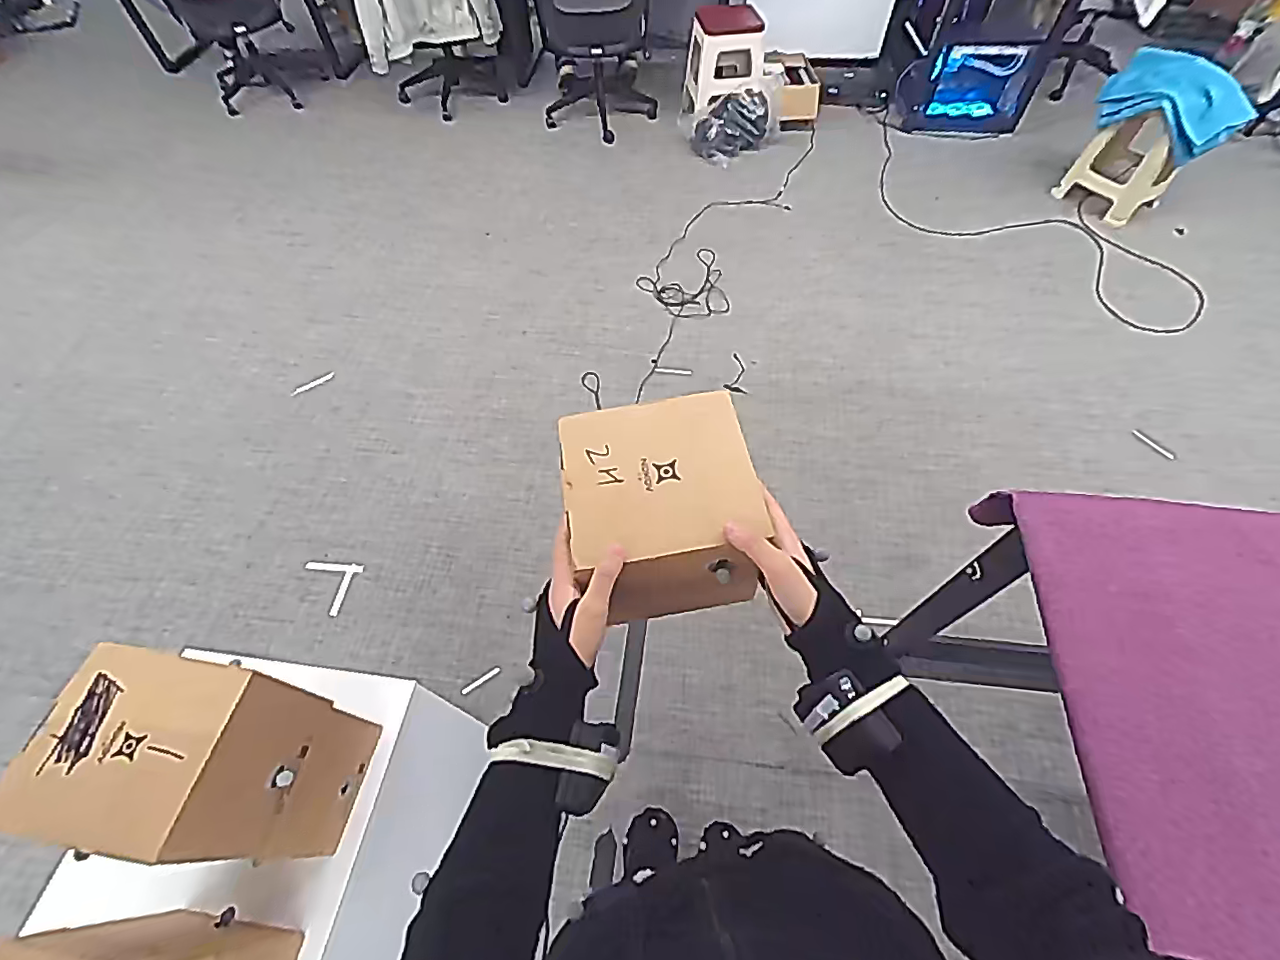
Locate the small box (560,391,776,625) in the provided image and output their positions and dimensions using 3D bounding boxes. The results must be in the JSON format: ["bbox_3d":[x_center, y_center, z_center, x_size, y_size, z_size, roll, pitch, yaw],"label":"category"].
[{"bbox_3d":[0.023,0.036,0.556,0.179,0.176,0.168,-10,58,-1],"label":"small box"}]

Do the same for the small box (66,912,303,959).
[{"bbox_3d":[-0.515,0.584,0.577,0.179,0.176,0.168,5,58,6],"label":"small box"}]

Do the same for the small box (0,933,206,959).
[{"bbox_3d":[-0.518,0.496,0.441,0.179,0.176,0.168,5,57,5],"label":"small box"}]

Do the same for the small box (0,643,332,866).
[{"bbox_3d":[-0.476,0.289,0.571,0.179,0.176,0.168,8,59,5],"label":"small box"}]
